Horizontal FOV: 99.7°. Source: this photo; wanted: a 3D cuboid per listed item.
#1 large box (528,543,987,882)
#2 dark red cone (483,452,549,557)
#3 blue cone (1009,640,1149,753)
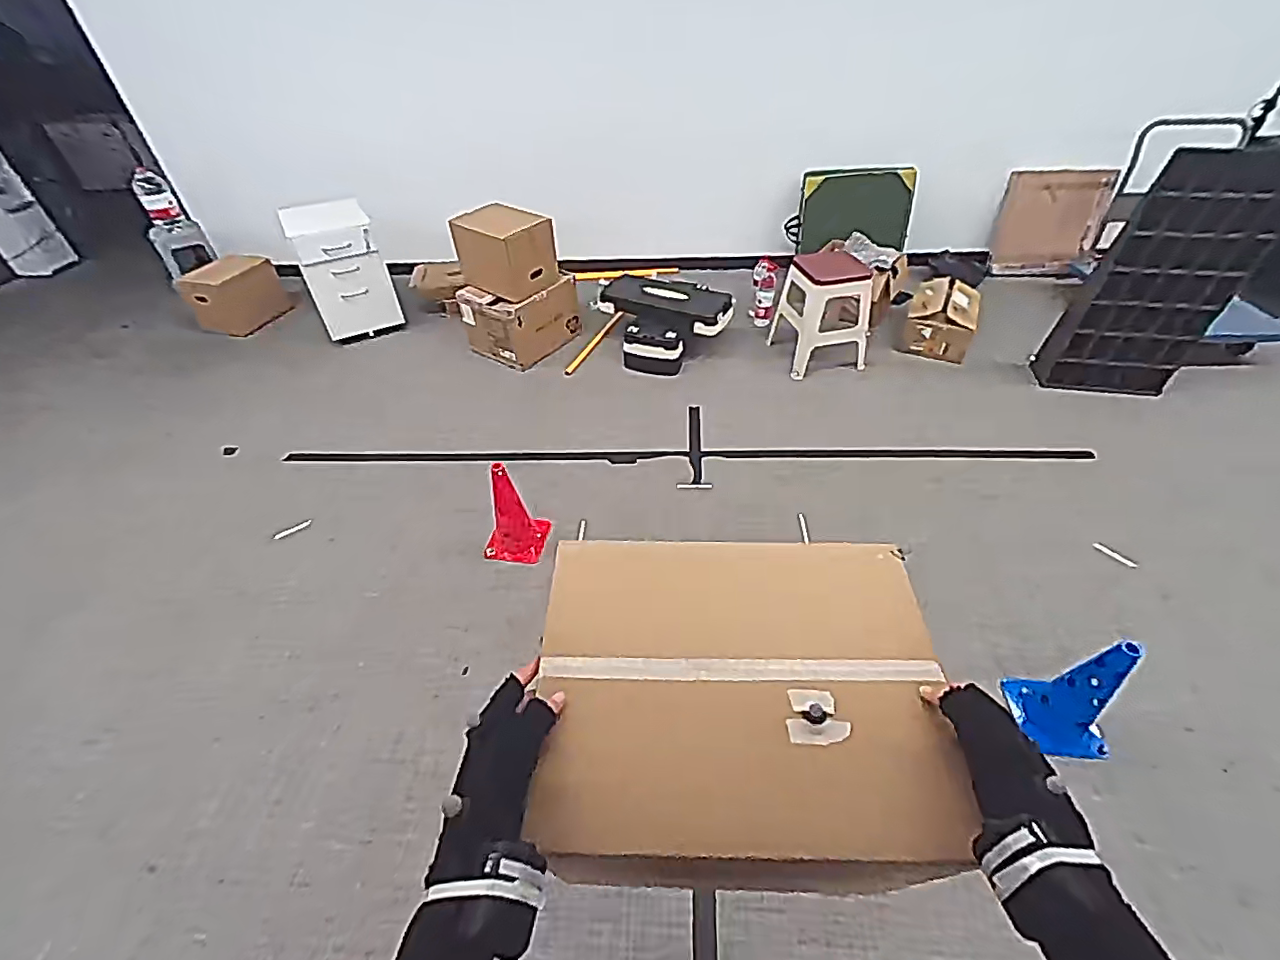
[{"bbox_3d":[0.101,0.291,0.669,0.408,0.320,0.320,1,50,1],"label":"large box"},{"bbox_3d":[-0.440,0.070,1.807,0.201,0.394,0.202,5,44,7],"label":"dark red cone"},{"bbox_3d":[1.098,0.503,1.322,0.192,0.380,0.193,3,44,5],"label":"blue cone"}]
